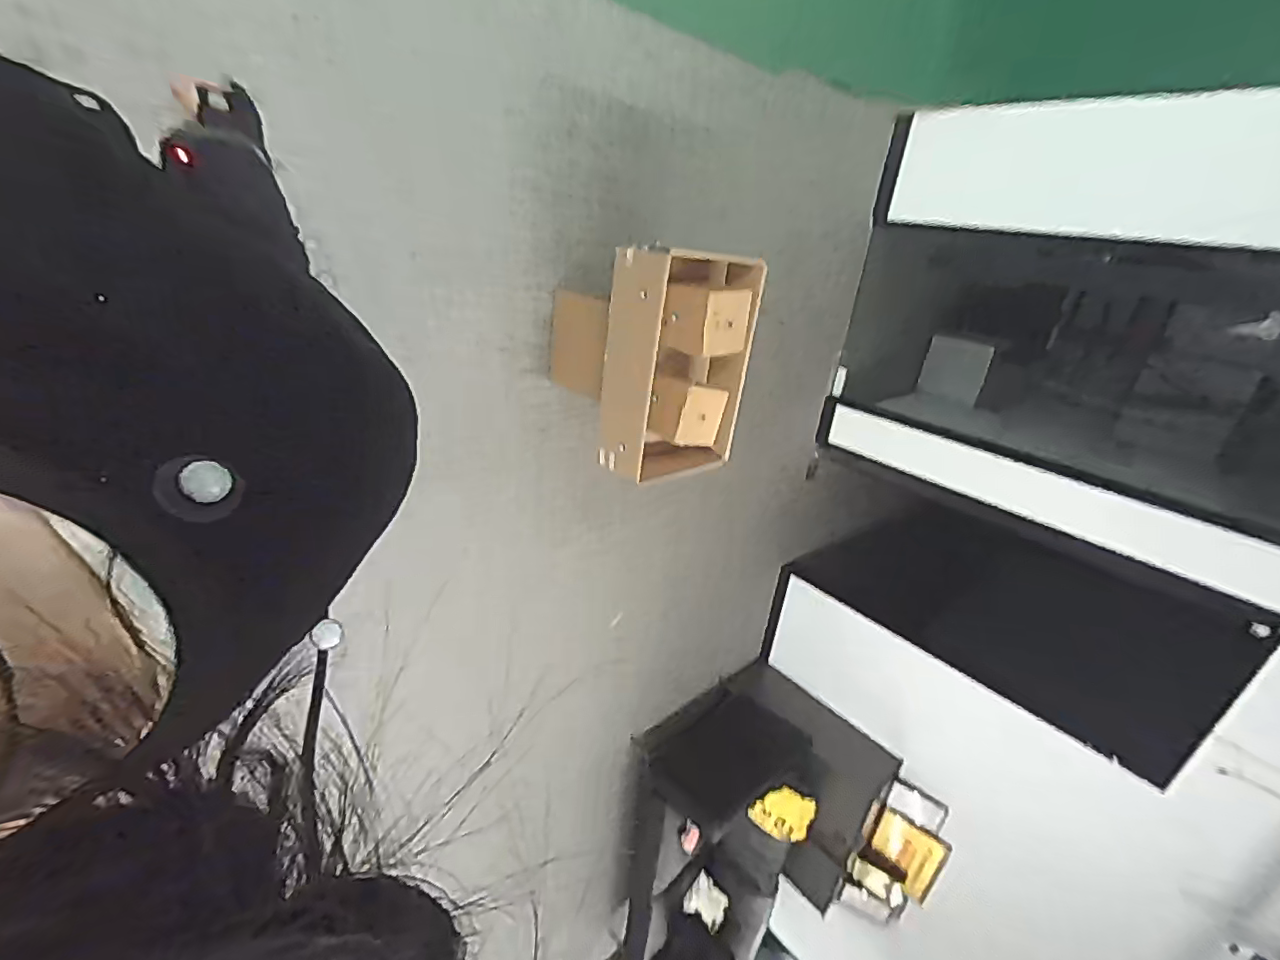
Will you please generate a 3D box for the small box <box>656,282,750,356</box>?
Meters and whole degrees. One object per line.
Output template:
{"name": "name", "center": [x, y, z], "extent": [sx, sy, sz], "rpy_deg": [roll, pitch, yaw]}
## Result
{"name": "small box", "center": [0.170, -0.446, 1.483], "extent": [0.179, 0.176, 0.168], "rpy_deg": [-18, 124, -38]}
